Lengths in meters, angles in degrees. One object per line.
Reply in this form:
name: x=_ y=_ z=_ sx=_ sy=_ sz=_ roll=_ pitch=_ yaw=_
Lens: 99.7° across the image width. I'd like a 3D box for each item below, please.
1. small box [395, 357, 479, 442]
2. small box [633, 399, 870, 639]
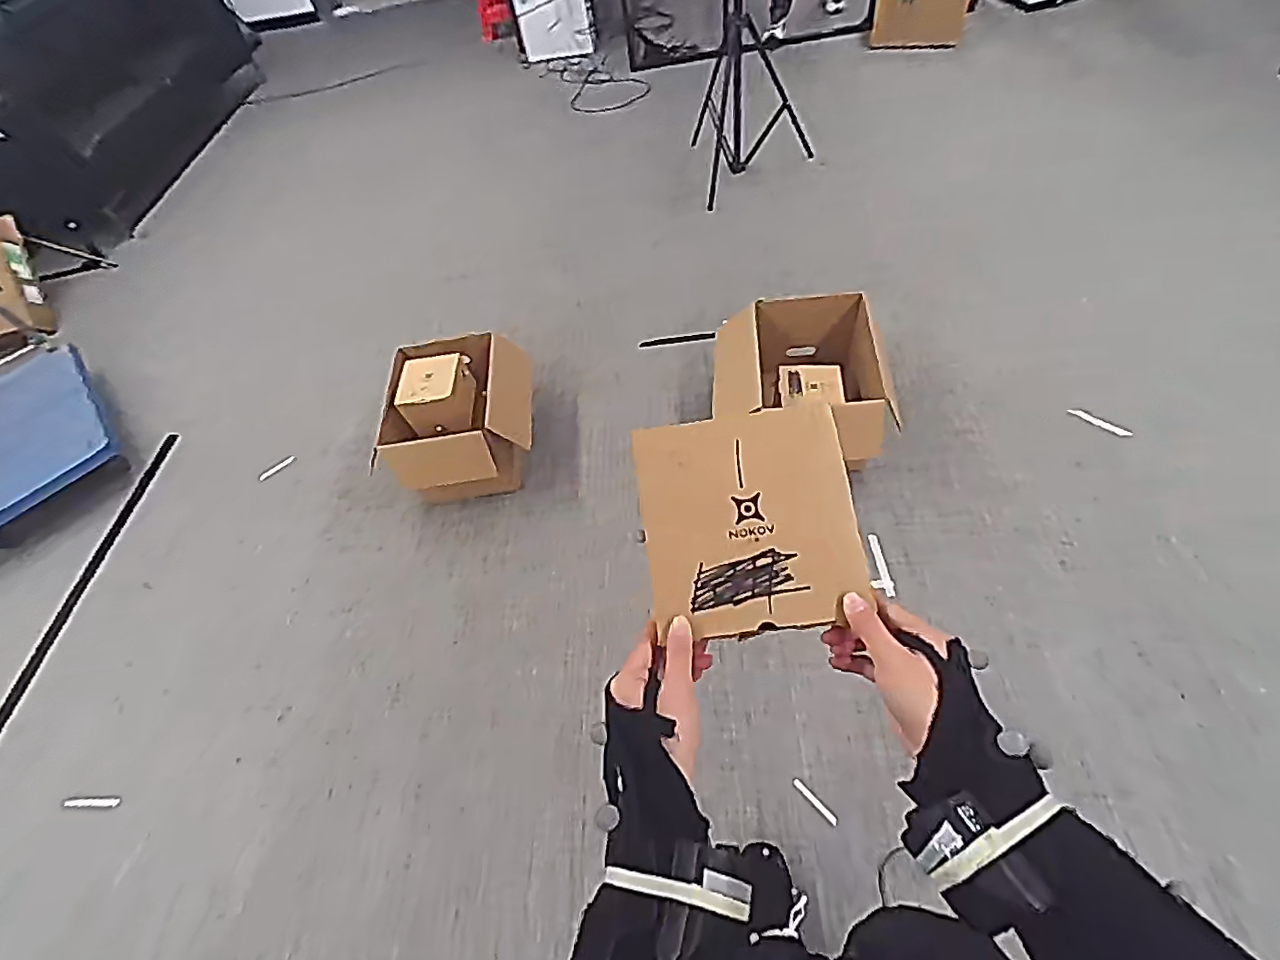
small box: x=-0.591 y=-0.236 z=1.601 sx=0.168 sy=0.176 sz=0.179 roll=-7 pitch=56 yaw=6
small box: x=0.092 y=0.045 z=0.506 sx=0.168 sy=0.176 sz=0.179 roll=-8 pitch=75 yaw=4
